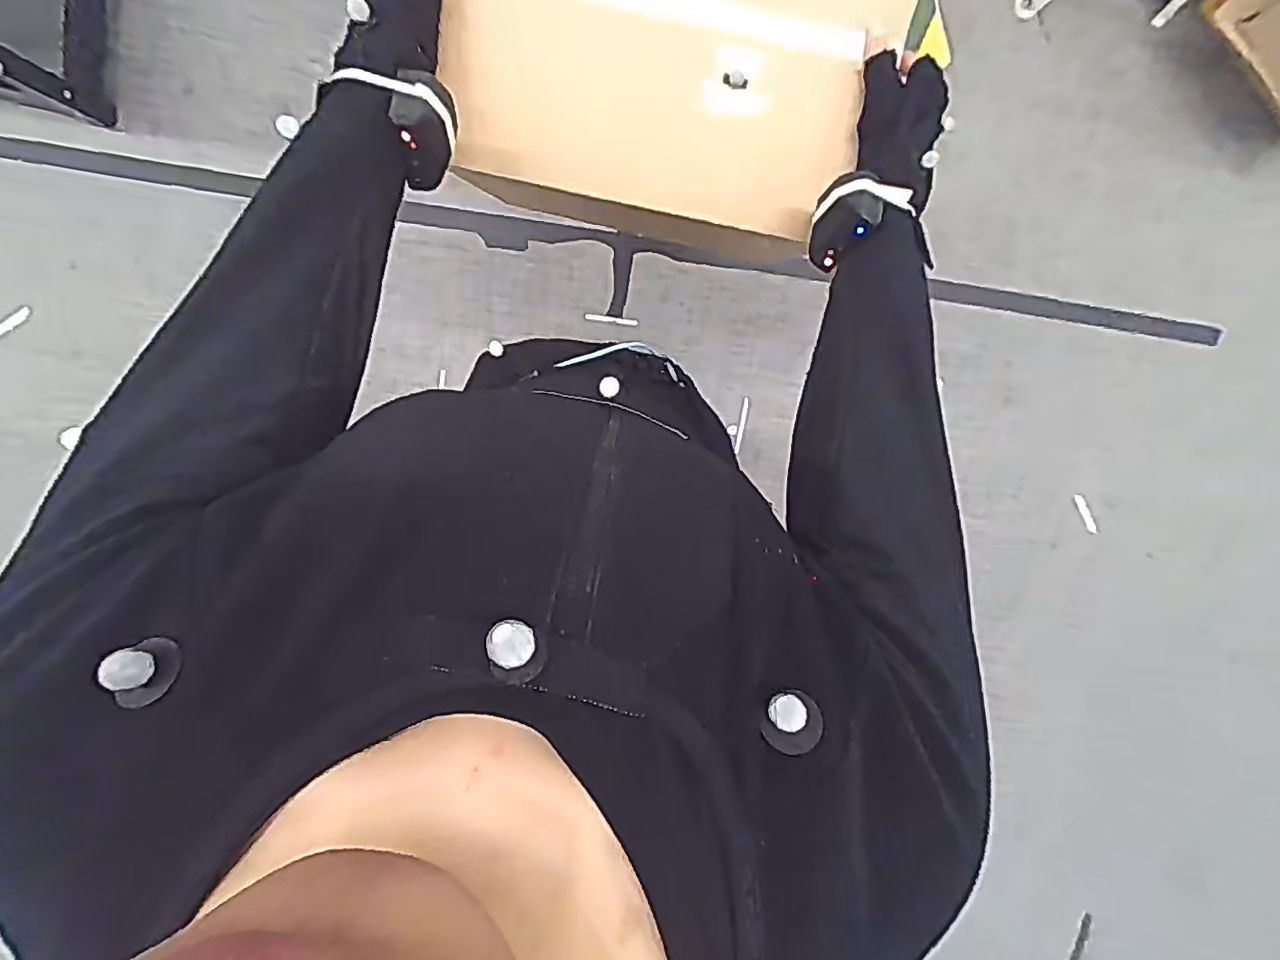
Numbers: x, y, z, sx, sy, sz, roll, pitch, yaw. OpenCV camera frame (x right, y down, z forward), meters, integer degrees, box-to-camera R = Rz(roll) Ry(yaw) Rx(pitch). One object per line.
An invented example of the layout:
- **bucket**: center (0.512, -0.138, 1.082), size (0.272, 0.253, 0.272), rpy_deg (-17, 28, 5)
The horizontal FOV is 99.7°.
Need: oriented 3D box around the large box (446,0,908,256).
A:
- **large box**: center (0.029, -0.461, 0.621), size (0.408, 0.320, 0.320), rpy_deg (10, 111, -5)
